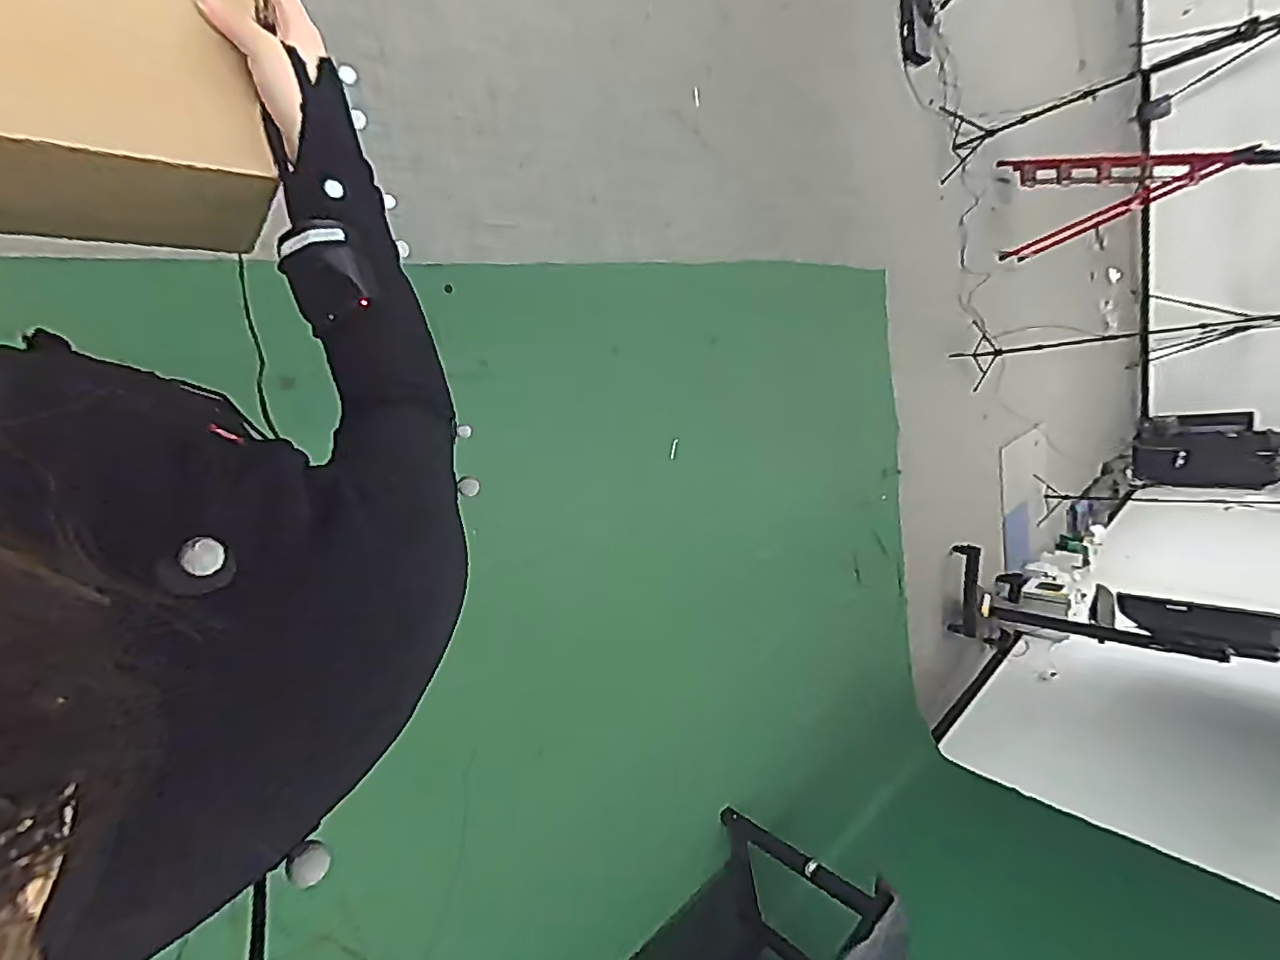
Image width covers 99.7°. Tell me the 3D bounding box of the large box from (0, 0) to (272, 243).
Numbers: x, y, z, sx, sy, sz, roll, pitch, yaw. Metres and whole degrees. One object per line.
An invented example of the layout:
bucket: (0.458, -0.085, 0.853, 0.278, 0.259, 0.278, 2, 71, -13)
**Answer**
large box: (-0.539, -0.372, 0.389, 0.408, 0.320, 0.320, -11, 105, -36)
